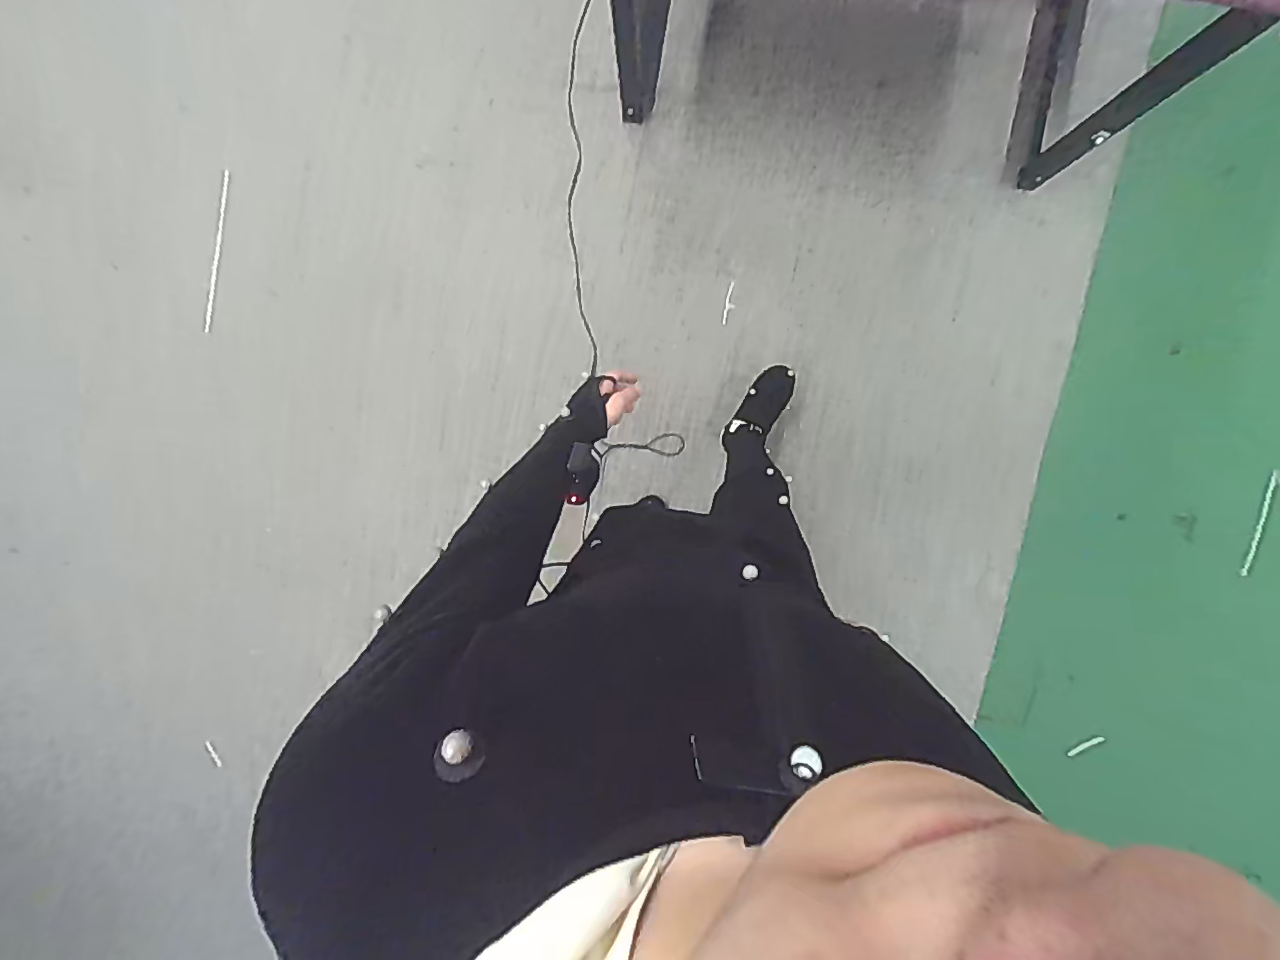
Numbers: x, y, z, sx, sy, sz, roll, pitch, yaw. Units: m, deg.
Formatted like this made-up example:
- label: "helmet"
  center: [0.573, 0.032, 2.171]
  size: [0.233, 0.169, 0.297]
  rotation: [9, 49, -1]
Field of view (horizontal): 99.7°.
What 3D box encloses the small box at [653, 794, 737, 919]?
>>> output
- label: "small box"
  center: [0.135, 0.940, 1.363]
  size: [0.168, 0.176, 0.179]
  rotation: [14, 96, 1]
